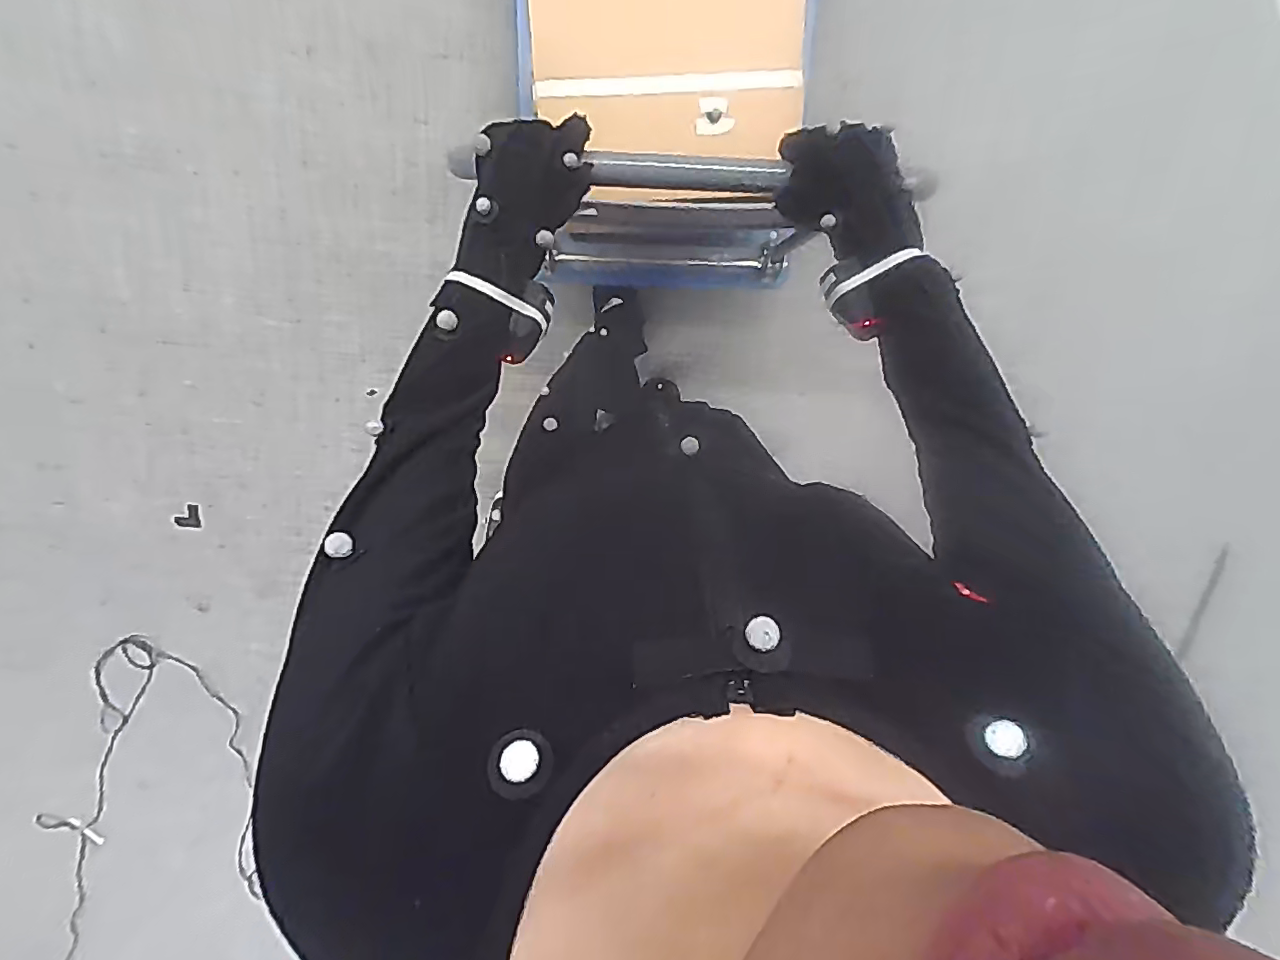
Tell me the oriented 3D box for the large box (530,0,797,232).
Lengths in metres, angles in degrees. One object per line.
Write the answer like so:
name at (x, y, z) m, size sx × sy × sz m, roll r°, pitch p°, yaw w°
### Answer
large box at (0.035, -0.648, 0.972) m, size 0.408 × 0.320 × 0.320 m, roll -3°, pitch 107°, yaw -2°
